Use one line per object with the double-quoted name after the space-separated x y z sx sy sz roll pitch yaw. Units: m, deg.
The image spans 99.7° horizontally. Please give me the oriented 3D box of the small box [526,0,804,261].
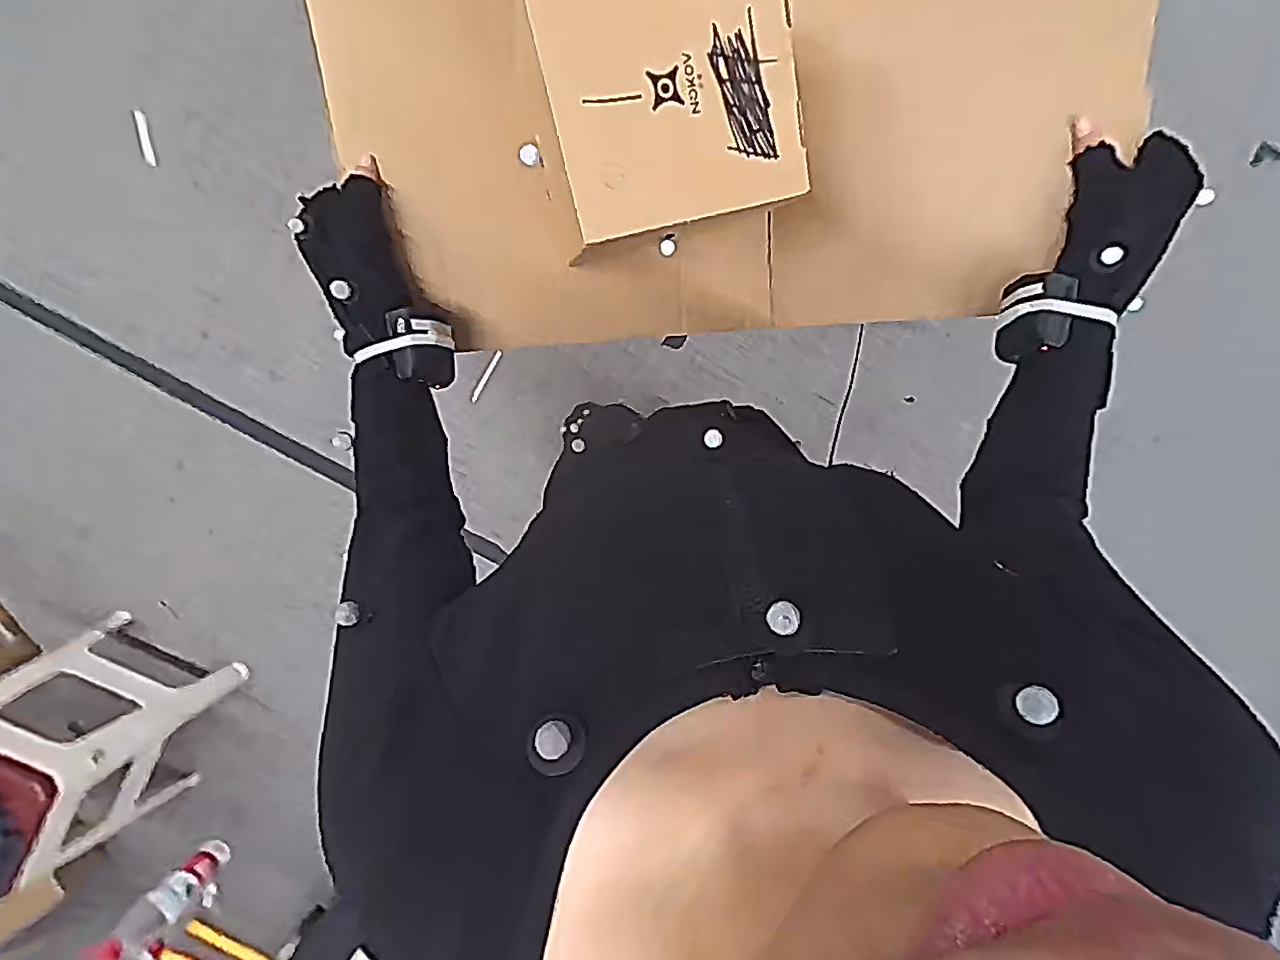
0.010 -0.290 0.449 0.179 0.176 0.168 -15 109 -7 "small box"
